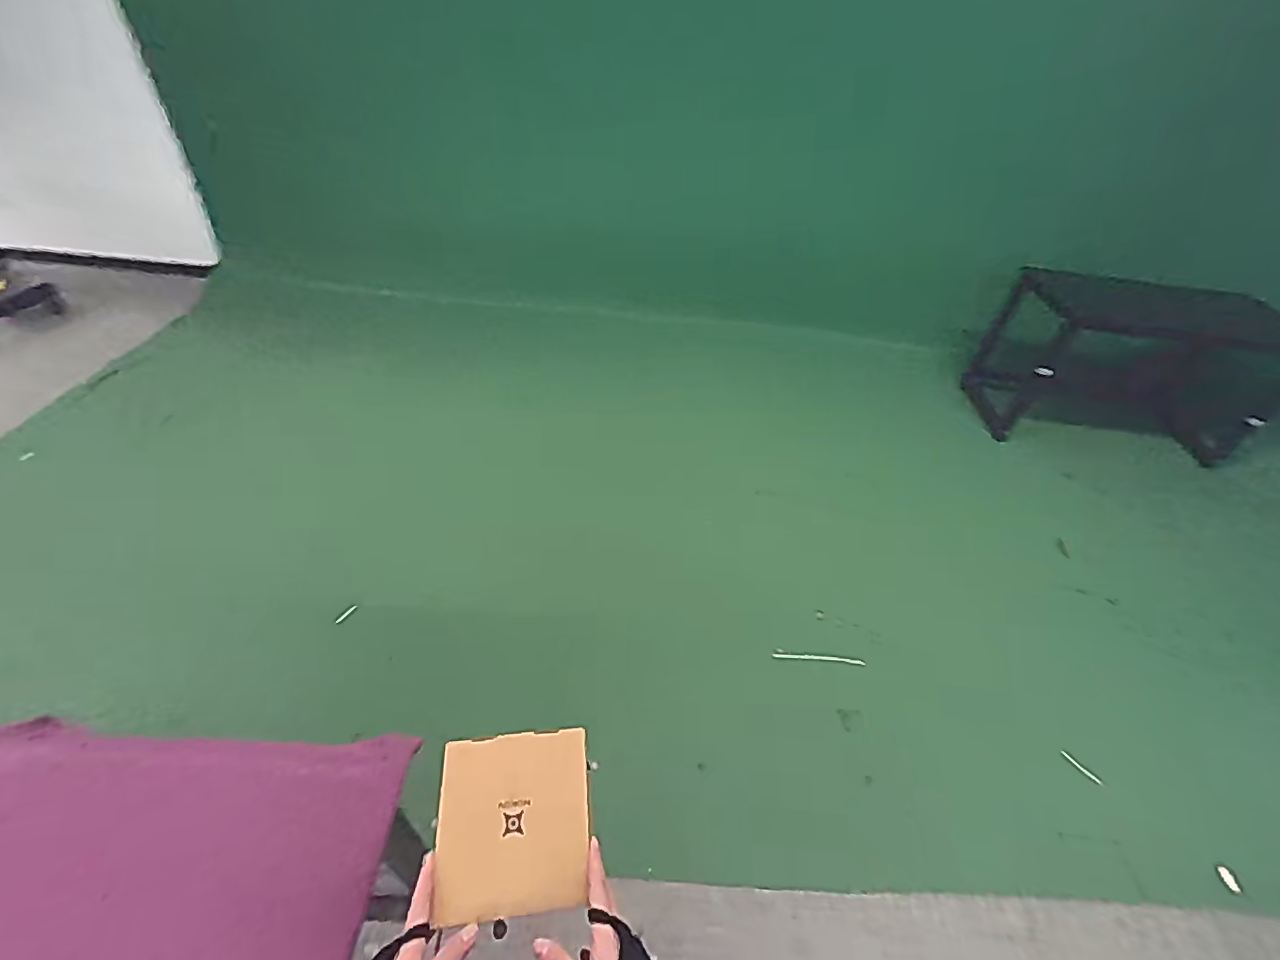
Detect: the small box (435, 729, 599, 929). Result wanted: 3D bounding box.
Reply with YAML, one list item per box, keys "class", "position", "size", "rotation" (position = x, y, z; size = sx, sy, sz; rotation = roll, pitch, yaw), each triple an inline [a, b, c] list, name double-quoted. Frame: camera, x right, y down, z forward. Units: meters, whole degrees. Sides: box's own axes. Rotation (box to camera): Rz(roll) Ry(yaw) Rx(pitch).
- class: "small box"
  position: [-0.137, 0.425, 0.661]
  size: [0.168, 0.176, 0.179]
  rotation: [-3, 51, -6]
